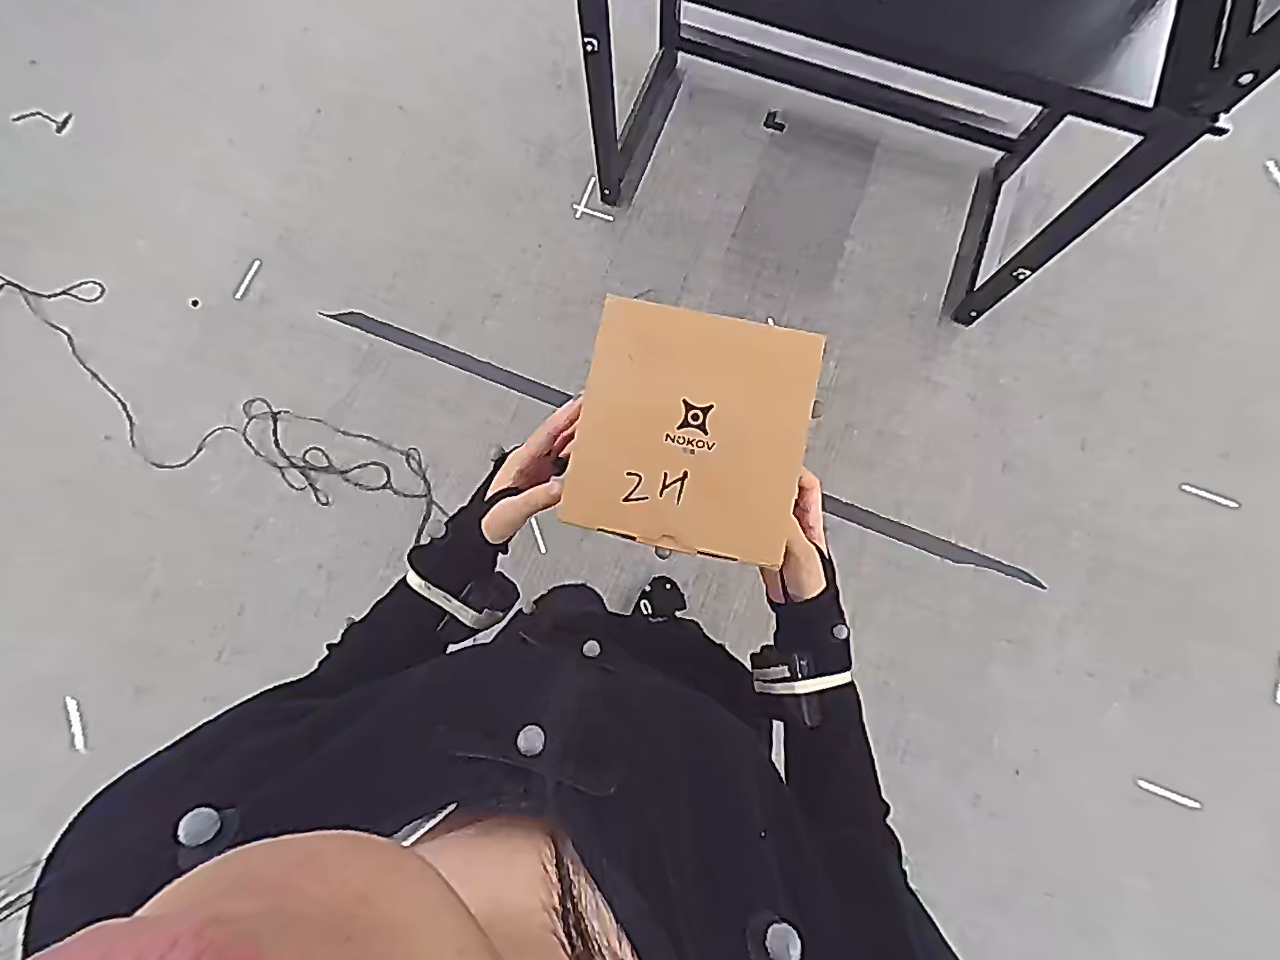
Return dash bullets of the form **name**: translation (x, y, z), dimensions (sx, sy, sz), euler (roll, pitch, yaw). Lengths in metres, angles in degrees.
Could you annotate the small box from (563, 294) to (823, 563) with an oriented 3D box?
- **small box**: translation (0.043, -0.035, 0.479), dimensions (0.168, 0.176, 0.179), euler (12, 86, 4)
